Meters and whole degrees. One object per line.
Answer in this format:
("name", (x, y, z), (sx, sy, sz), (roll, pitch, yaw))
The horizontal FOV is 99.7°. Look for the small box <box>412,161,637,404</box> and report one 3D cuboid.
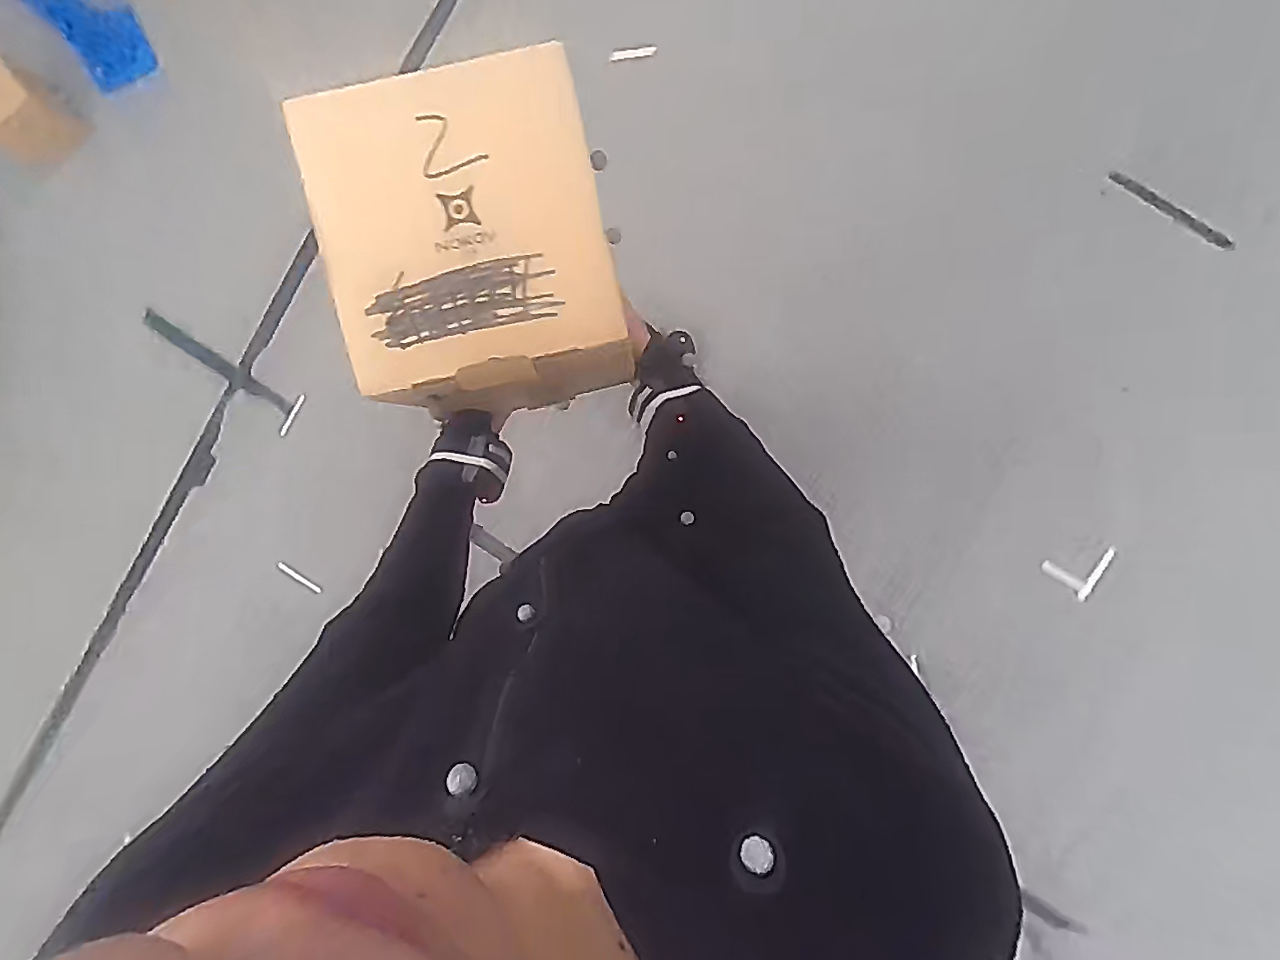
("small box", (-0.103, -0.183, 0.554), (0.168, 0.176, 0.179), (-13, 96, 0))
